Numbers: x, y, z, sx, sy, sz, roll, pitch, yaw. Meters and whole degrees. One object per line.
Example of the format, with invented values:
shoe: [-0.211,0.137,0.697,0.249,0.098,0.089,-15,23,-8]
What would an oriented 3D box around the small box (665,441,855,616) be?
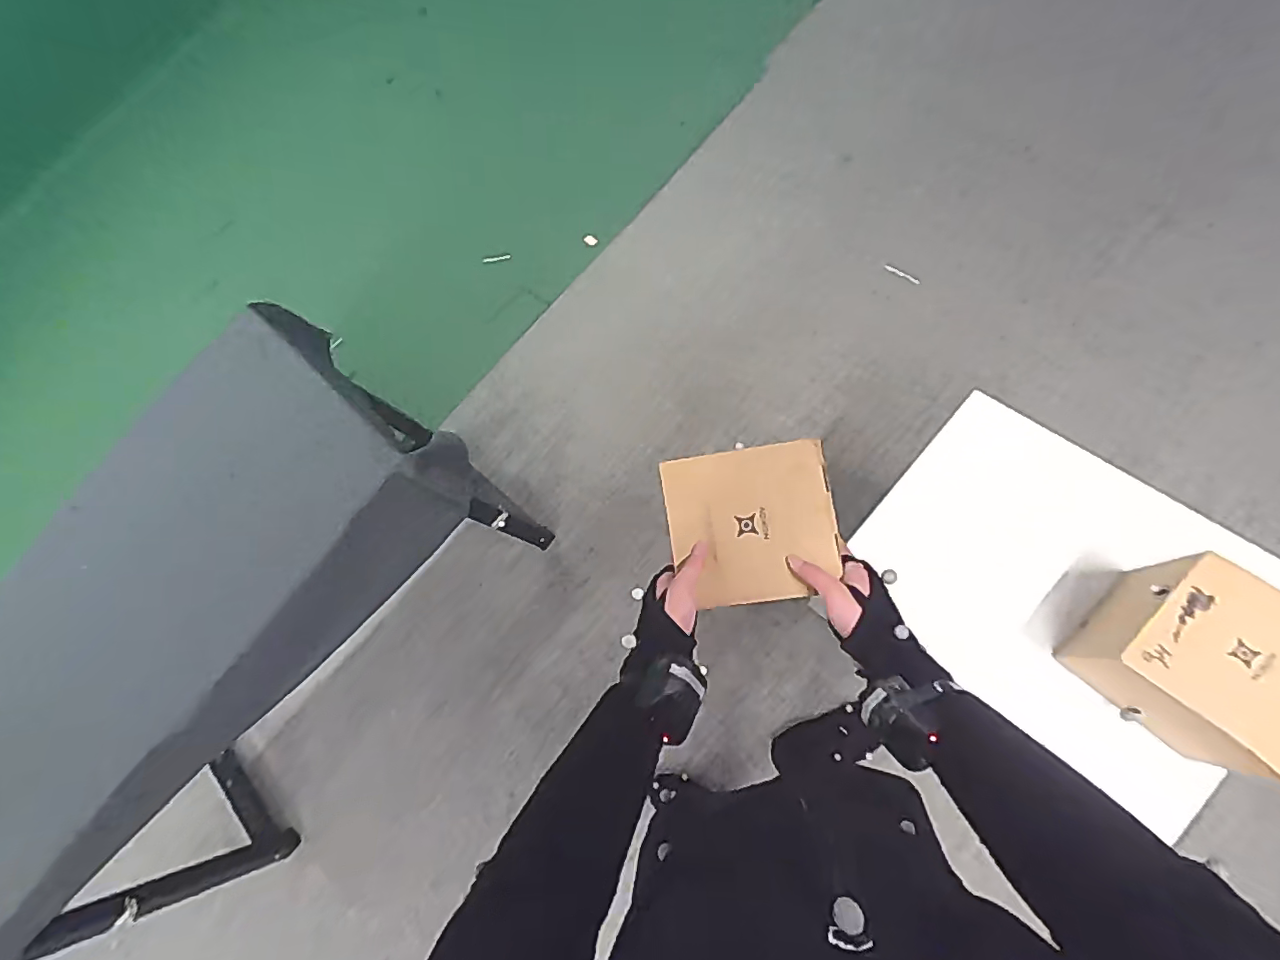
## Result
small box: [0.133,0.059,0.645,0.179,0.176,0.168,-10,82,8]

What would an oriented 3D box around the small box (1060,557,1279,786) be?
small box: [0.663,0.215,0.638,0.179,0.176,0.168,42,86,21]
